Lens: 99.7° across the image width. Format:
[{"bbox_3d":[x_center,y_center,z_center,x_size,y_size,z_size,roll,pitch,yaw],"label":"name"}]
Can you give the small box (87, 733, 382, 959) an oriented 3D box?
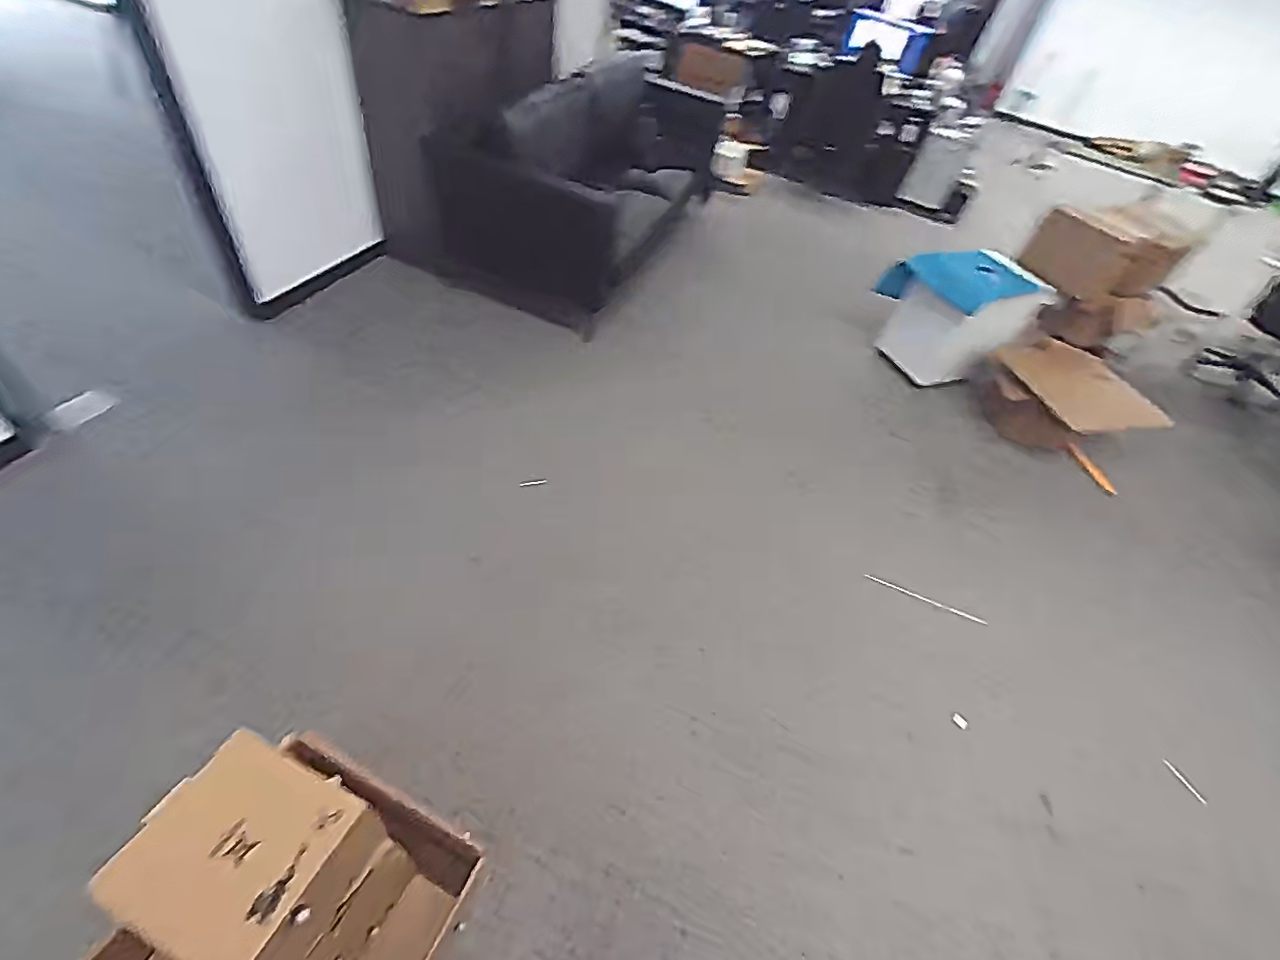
[{"bbox_3d":[-0.422,0.422,0.598,0.179,0.176,0.168,24,47,9],"label":"small box"}]
